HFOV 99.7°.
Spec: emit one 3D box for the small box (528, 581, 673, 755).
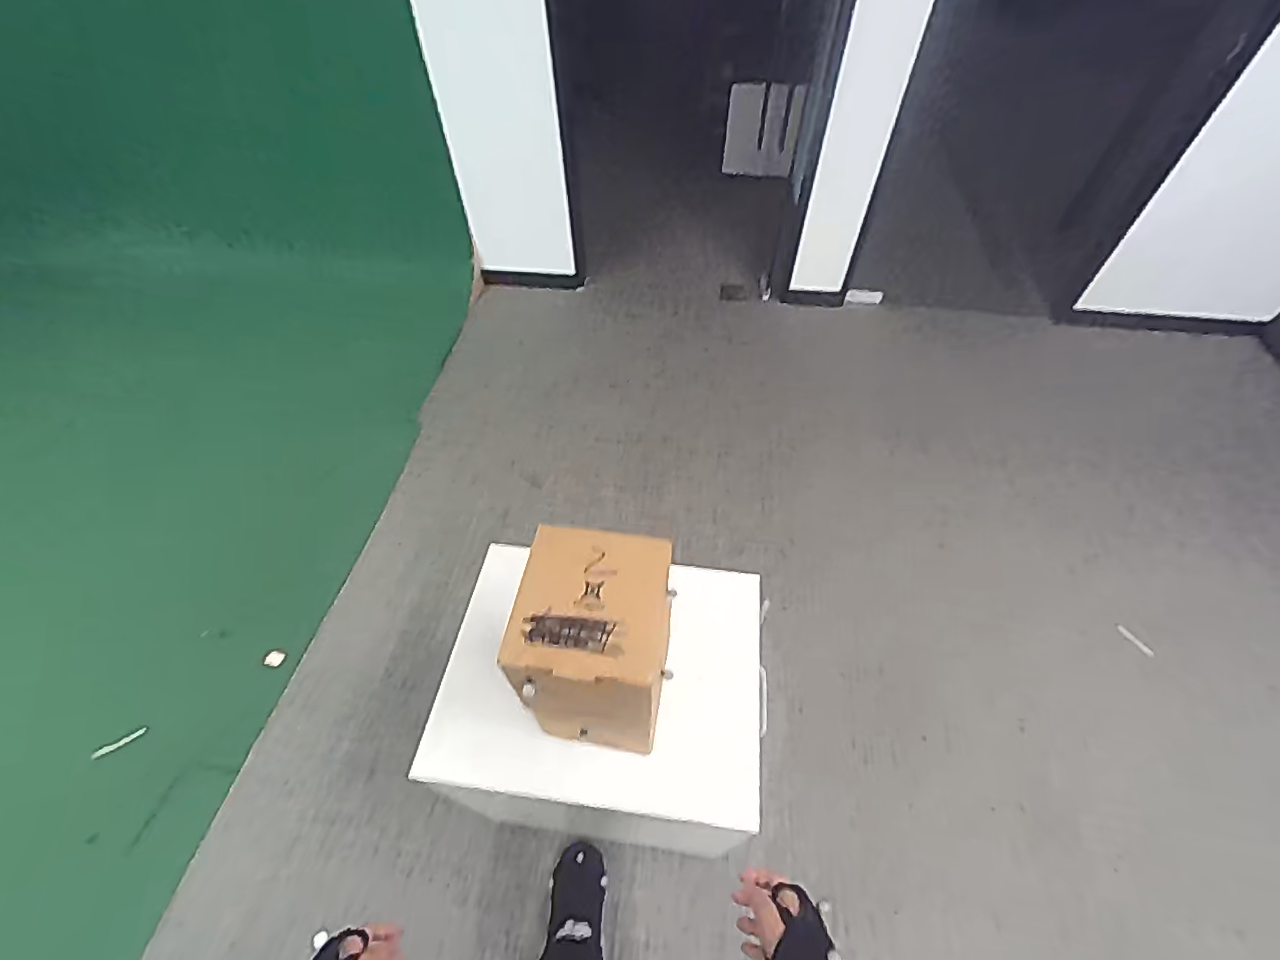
[{"bbox_3d":[-0.050,0.275,0.788,0.168,0.176,0.179,9,51,6],"label":"small box"}]
